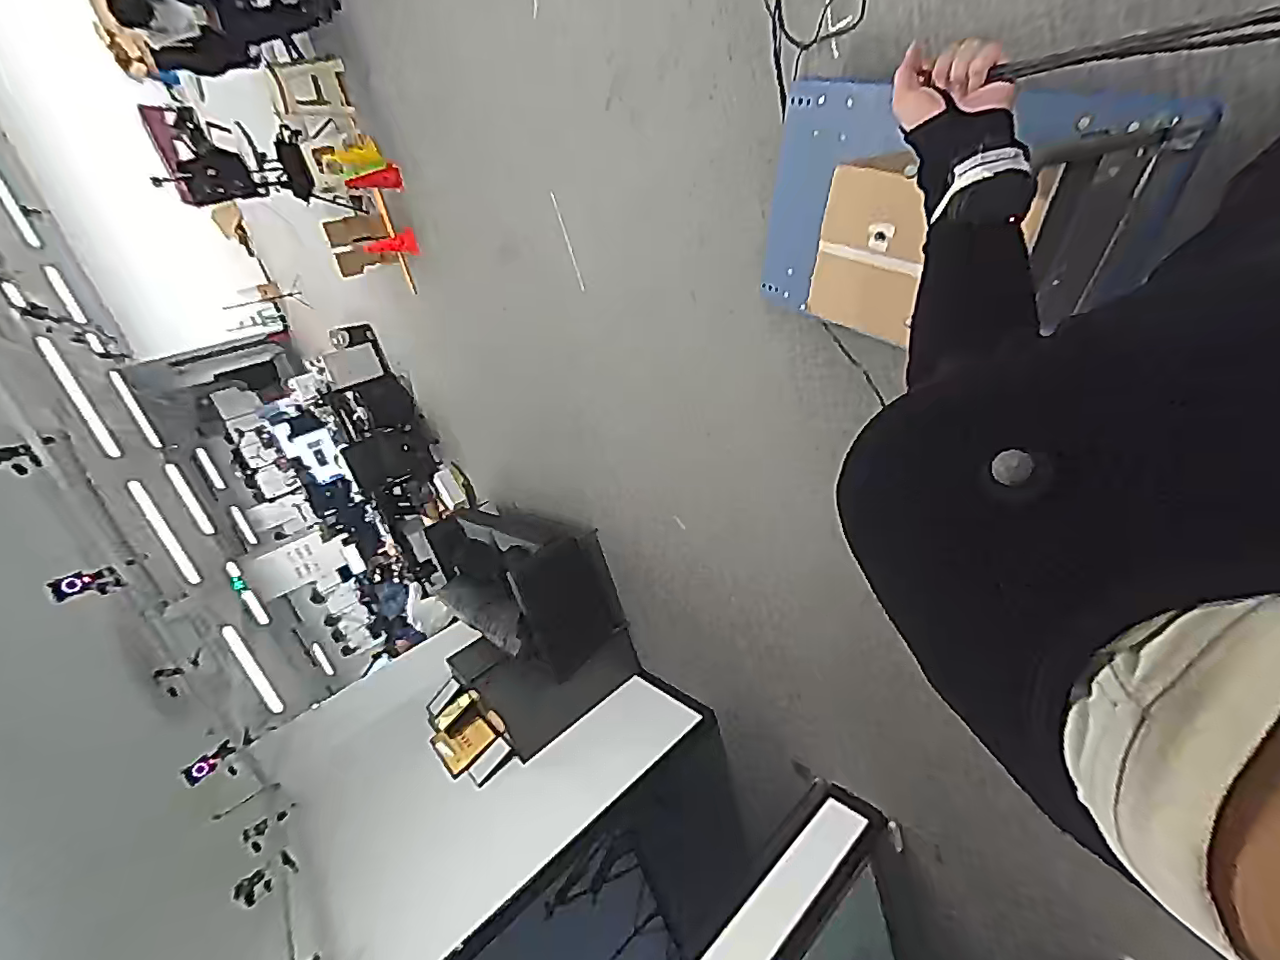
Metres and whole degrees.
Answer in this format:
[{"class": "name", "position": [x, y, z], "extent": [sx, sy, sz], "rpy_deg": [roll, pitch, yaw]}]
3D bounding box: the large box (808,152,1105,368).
[{"class": "large box", "position": [0.640, -0.487, 1.151], "extent": [0.408, 0.320, 0.320], "rpy_deg": [37, 141, 36]}]
